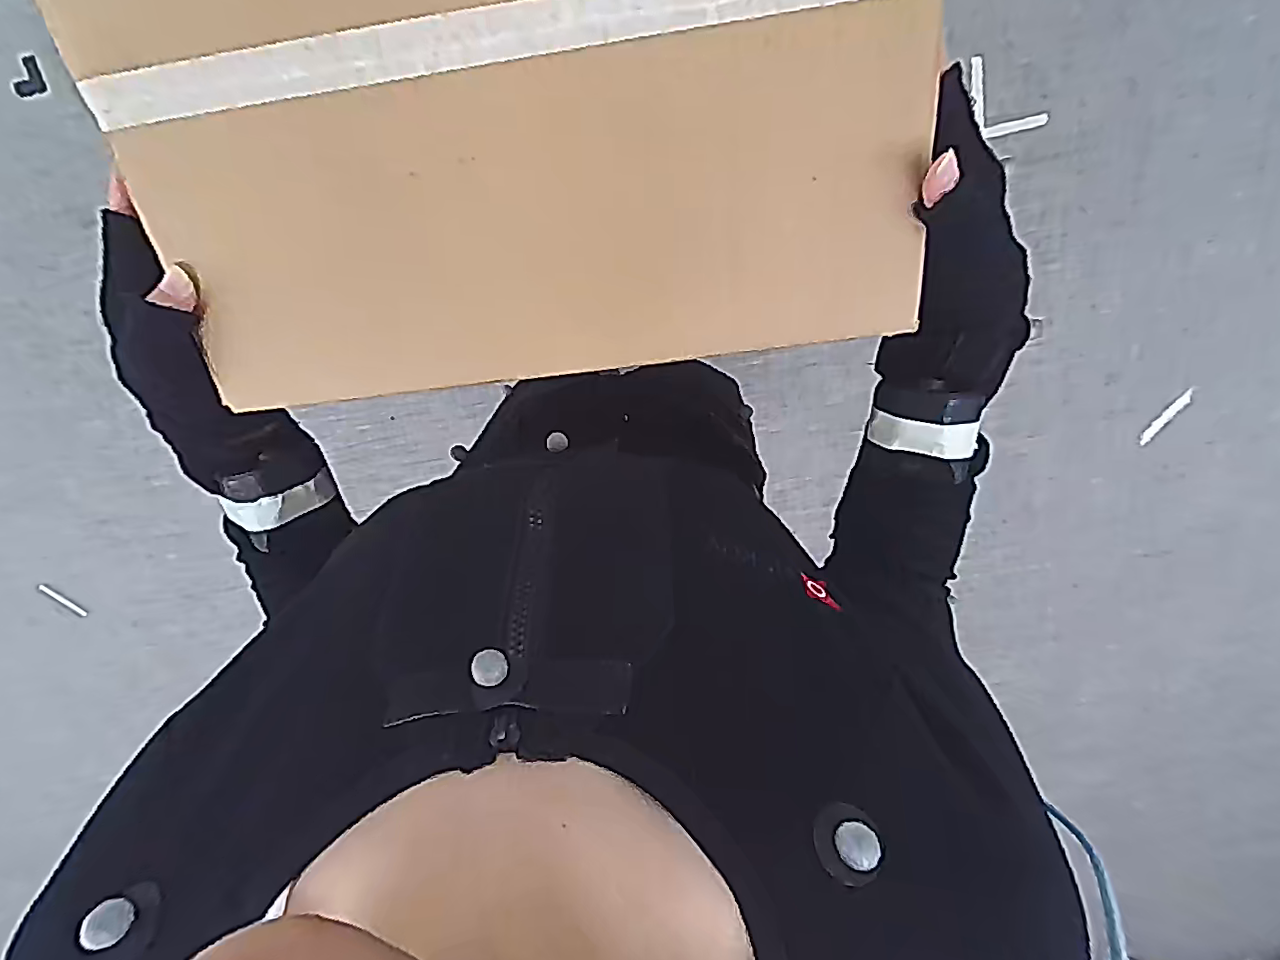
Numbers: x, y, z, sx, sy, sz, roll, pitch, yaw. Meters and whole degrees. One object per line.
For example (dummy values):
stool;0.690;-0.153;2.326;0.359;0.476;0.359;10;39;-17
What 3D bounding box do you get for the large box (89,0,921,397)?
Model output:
large box;-0.063;-0.271;0.400;0.408;0.320;0.320;-6;114;5
